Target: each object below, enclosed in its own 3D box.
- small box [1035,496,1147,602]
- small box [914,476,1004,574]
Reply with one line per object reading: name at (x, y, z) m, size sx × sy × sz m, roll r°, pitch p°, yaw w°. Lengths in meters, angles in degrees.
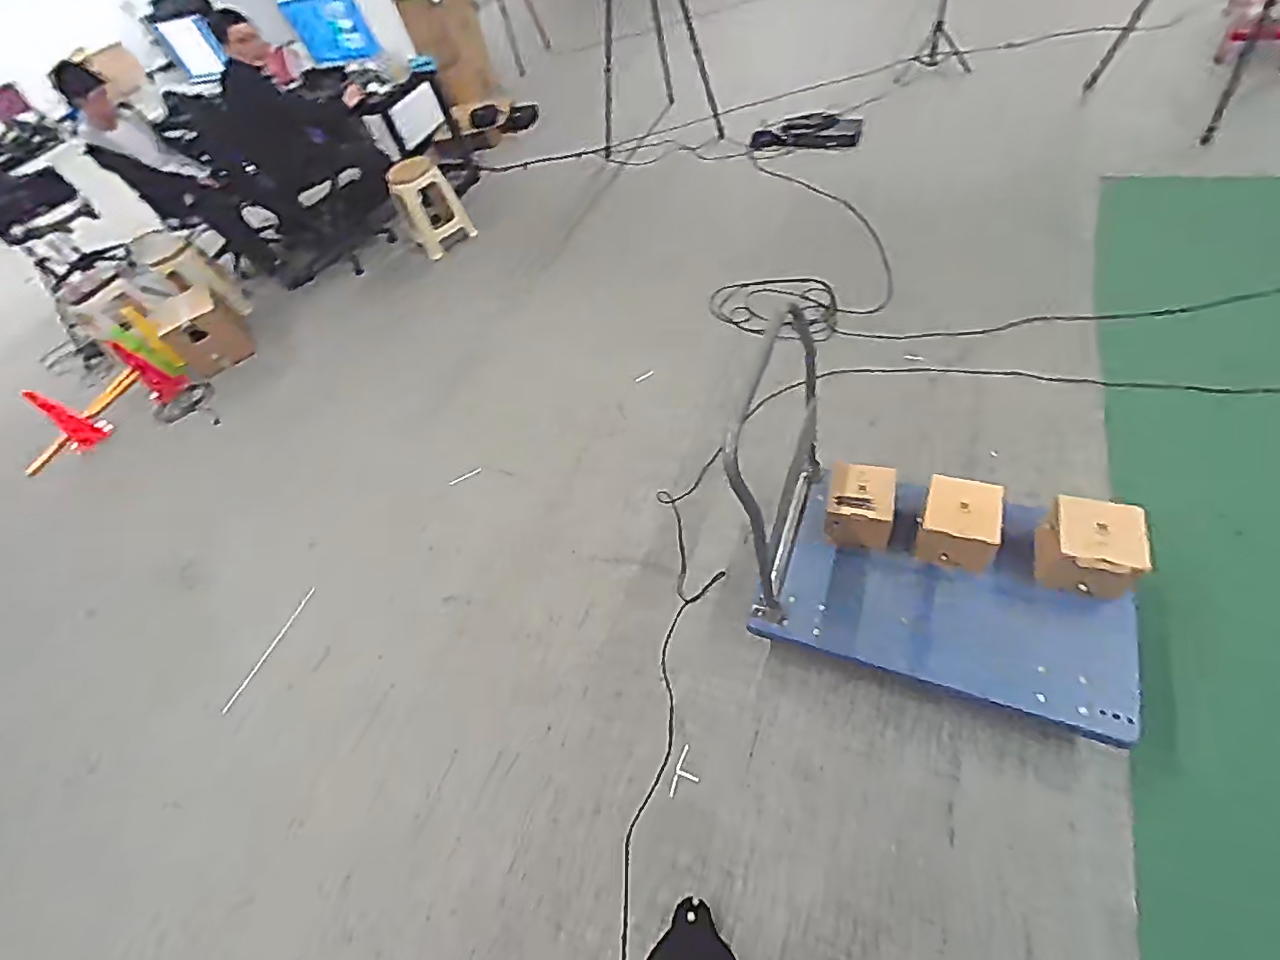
small box at (1.092, 0.169, 1.324) m, size 0.168 × 0.176 × 0.179 m, roll 11°, pitch 58°, yaw 23°
small box at (0.838, 0.120, 1.432) m, size 0.168 × 0.176 × 0.179 m, roll 13°, pitch 59°, yaw 23°
